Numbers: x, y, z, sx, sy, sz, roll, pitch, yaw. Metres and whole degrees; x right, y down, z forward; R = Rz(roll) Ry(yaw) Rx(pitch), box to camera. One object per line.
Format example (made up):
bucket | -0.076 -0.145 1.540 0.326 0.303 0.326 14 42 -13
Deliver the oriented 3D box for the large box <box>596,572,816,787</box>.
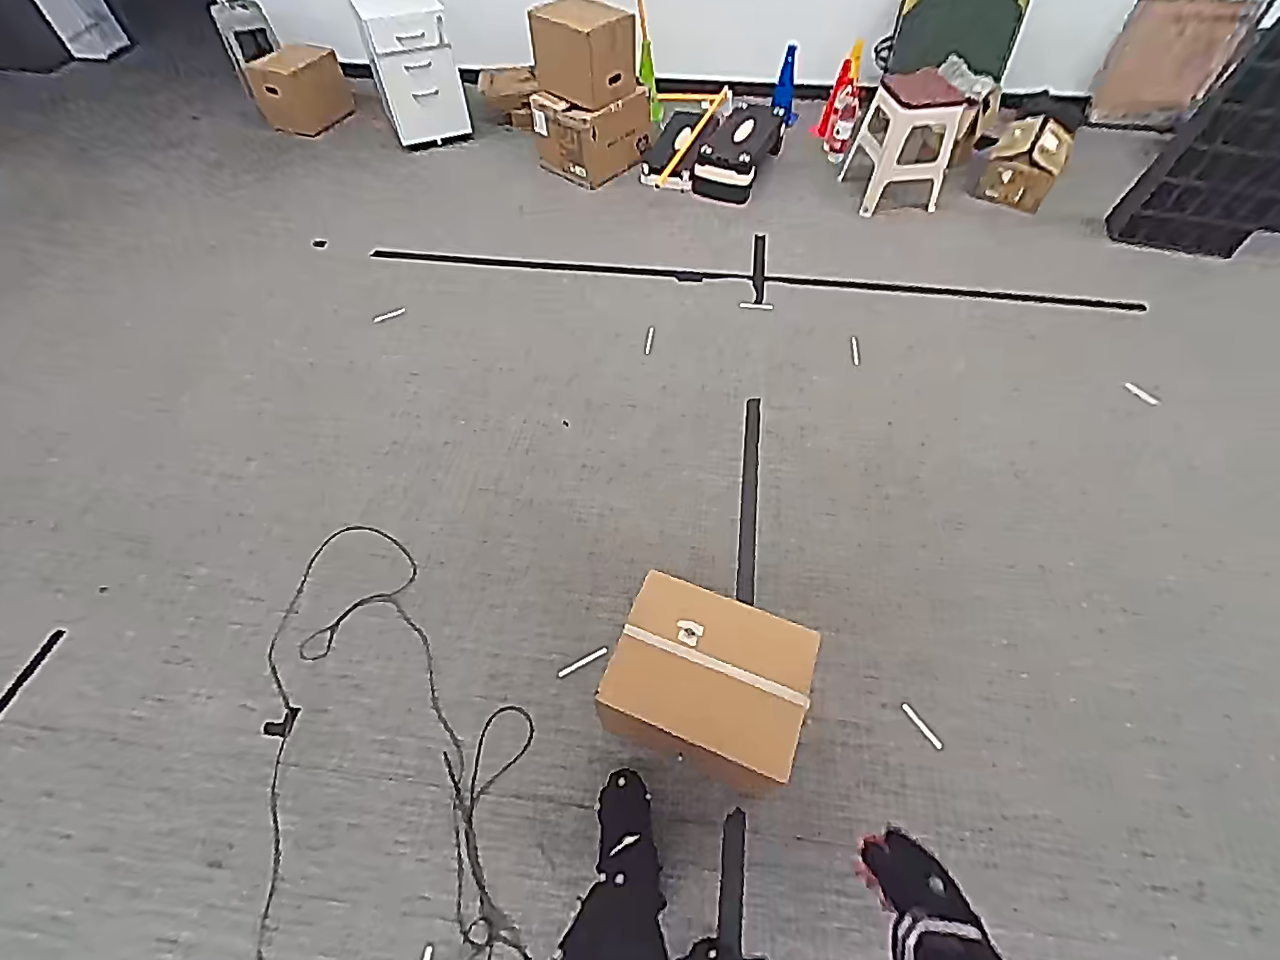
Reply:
large box | 0.151 0.471 1.264 0.408 0.320 0.320 18 57 13
